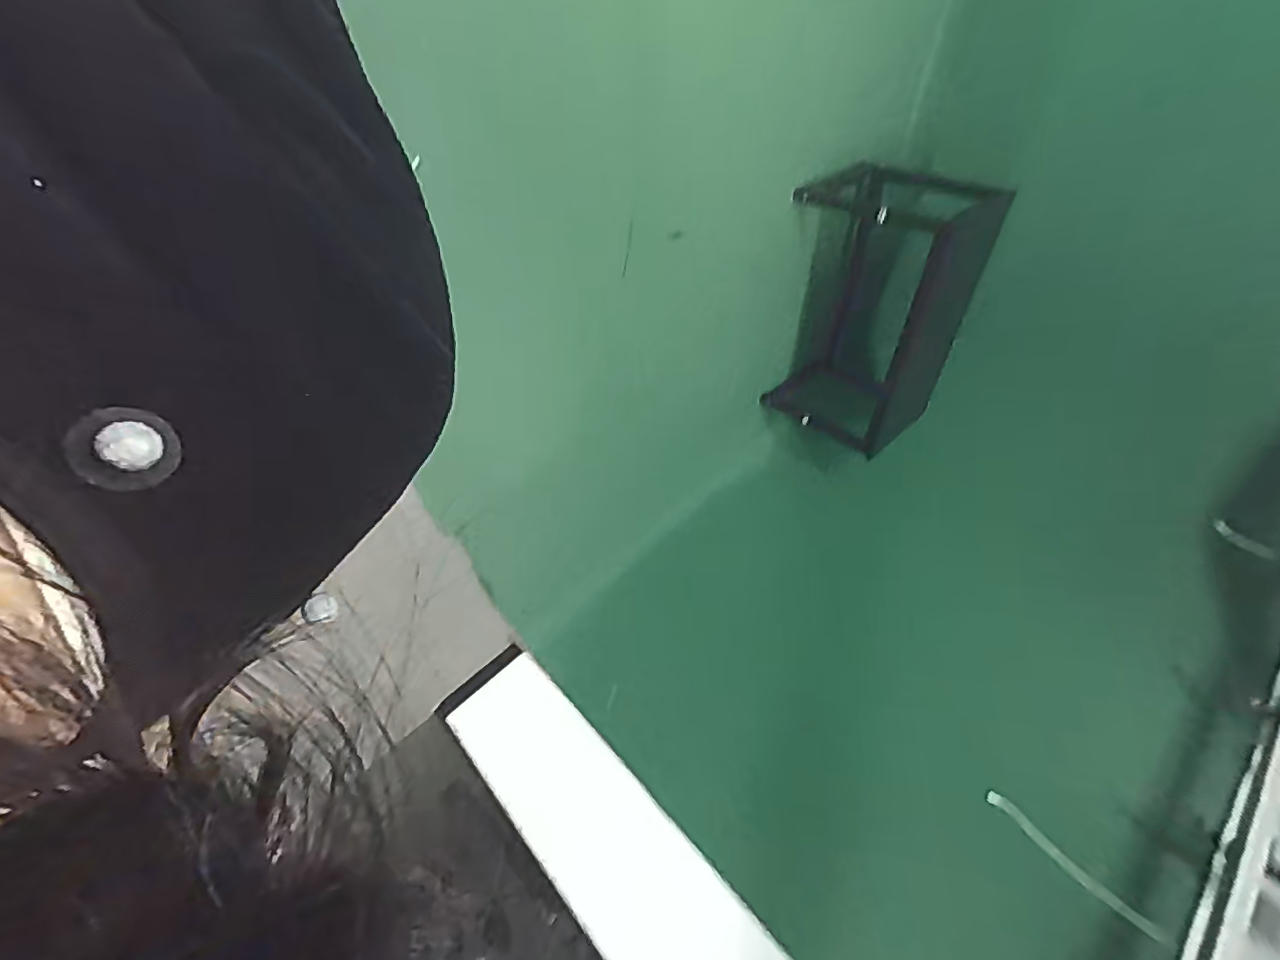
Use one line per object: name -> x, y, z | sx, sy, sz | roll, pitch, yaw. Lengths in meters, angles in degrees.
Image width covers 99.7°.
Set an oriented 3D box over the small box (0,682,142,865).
small box -> -0.888, 0.424, 0.790 | 0.179, 0.176, 0.168 | -54, 148, -2
